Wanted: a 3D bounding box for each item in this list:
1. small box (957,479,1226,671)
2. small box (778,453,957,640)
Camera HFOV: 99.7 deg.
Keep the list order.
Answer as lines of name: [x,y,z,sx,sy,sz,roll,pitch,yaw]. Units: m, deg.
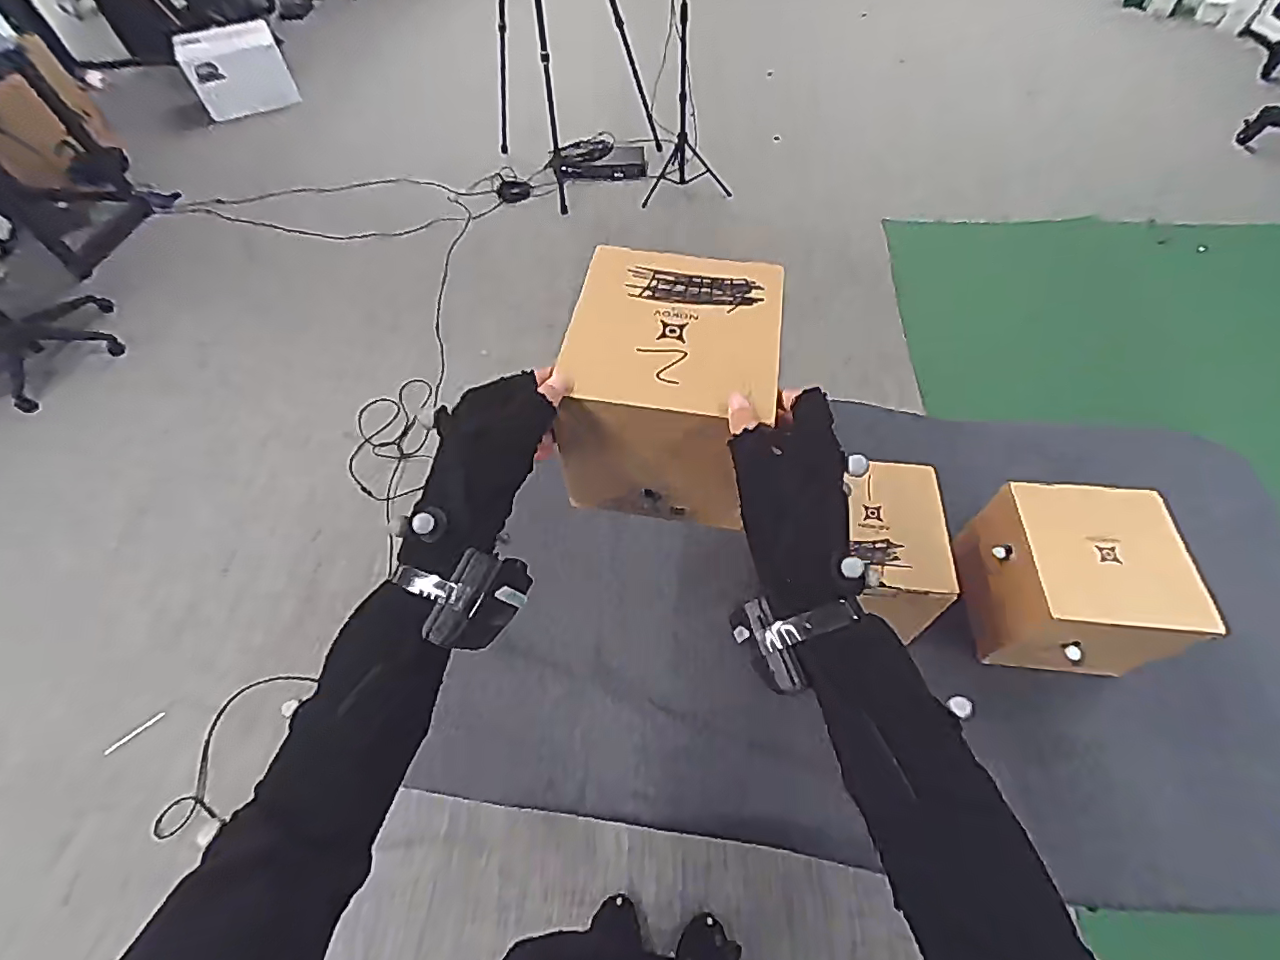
small box: [0.518,0.120,0.658,0.168,0.176,0.179,4,56,6]
small box: [0.275,0.090,0.693,0.168,0.176,0.179,6,55,7]
